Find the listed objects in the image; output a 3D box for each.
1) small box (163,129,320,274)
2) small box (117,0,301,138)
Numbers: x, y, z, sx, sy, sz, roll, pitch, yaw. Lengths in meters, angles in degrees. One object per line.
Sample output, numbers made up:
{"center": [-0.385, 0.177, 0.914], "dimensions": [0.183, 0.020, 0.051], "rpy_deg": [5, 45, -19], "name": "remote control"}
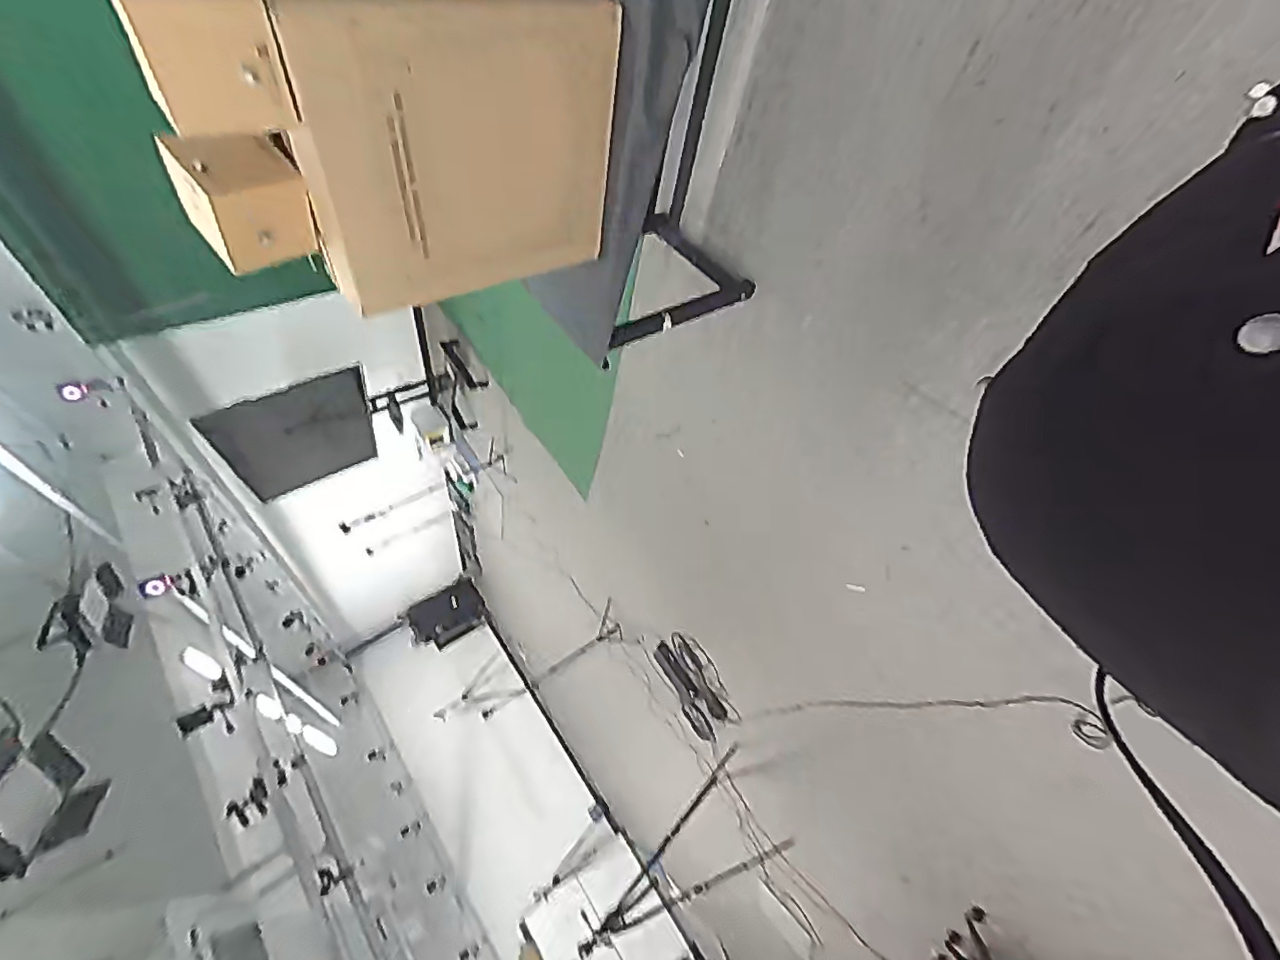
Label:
{"center": [-0.758, -0.547, 1.055], "dimensions": [0.168, 0.176, 0.179], "rpy_deg": [46, 148, 7], "name": "small box"}
{"center": [-0.650, -0.649, 0.819], "dimensions": [0.179, 0.176, 0.168], "rpy_deg": [48, 148, 24], "name": "small box"}
